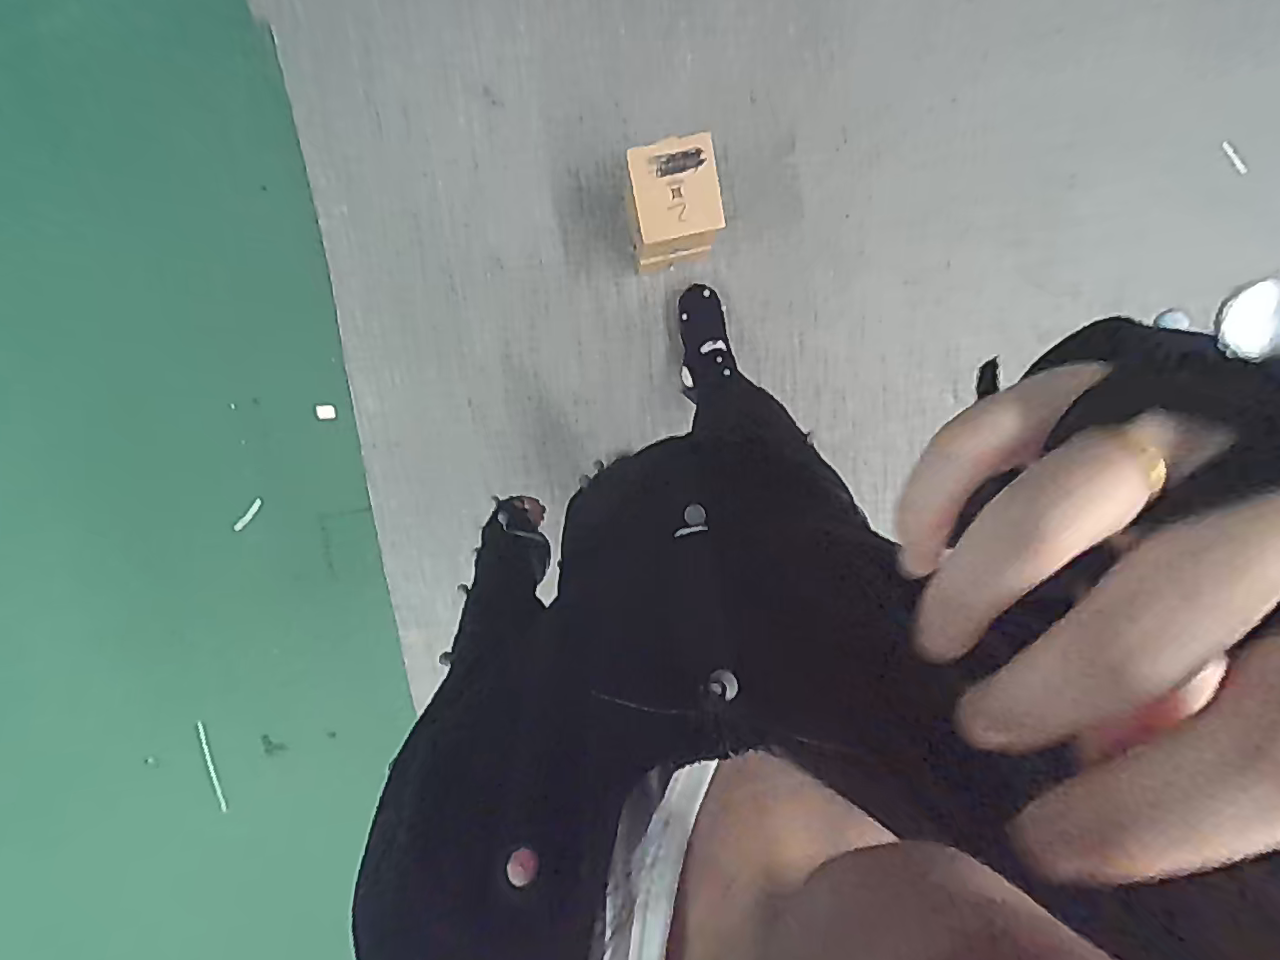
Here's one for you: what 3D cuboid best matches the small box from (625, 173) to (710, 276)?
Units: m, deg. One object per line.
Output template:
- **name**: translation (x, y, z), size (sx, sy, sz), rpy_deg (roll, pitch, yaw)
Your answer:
- **small box**: translation (0.064, -0.593, 1.280), size (0.168, 0.176, 0.179), rpy_deg (-12, 102, 1)
